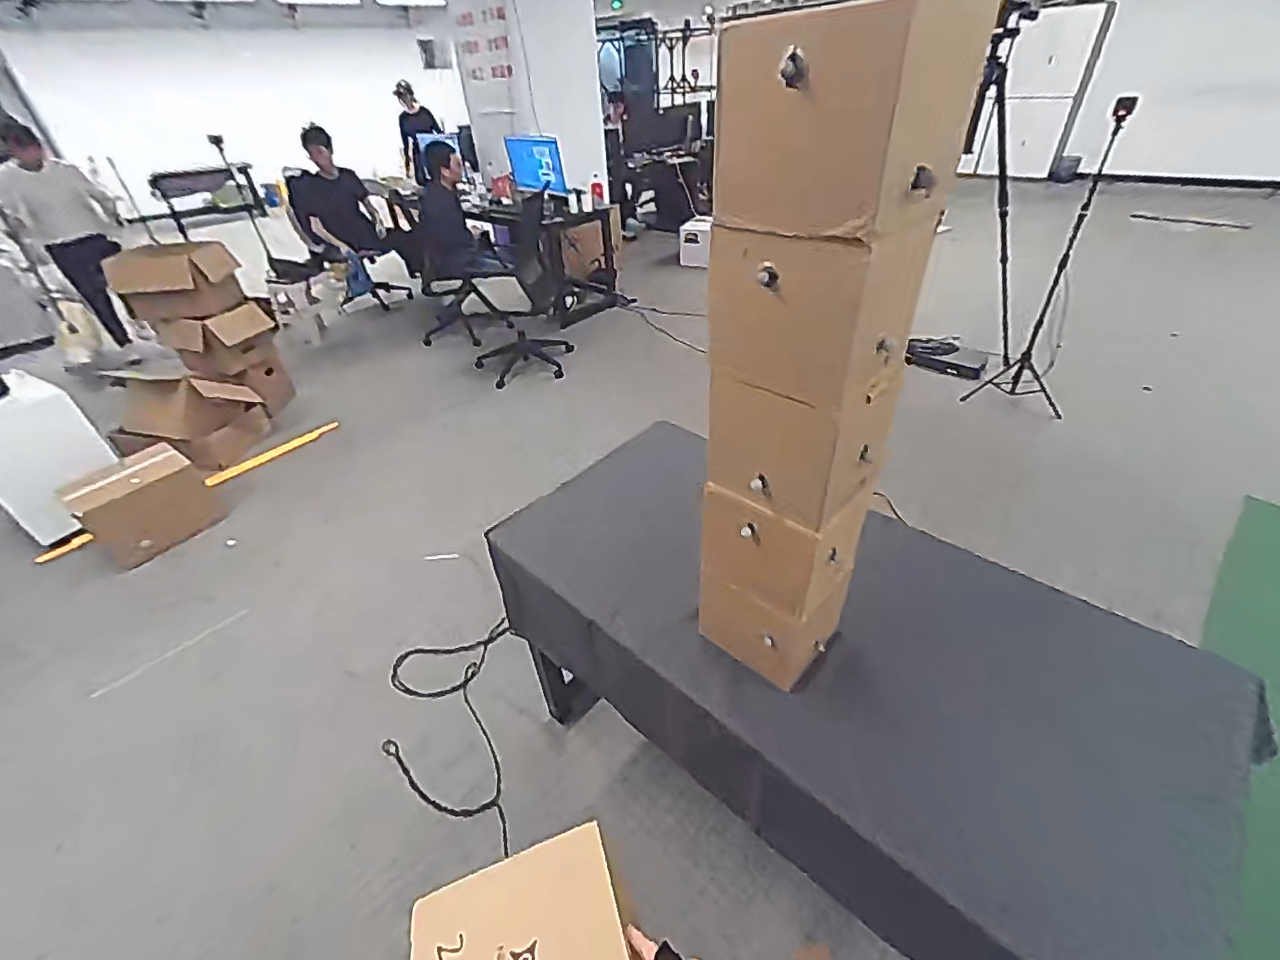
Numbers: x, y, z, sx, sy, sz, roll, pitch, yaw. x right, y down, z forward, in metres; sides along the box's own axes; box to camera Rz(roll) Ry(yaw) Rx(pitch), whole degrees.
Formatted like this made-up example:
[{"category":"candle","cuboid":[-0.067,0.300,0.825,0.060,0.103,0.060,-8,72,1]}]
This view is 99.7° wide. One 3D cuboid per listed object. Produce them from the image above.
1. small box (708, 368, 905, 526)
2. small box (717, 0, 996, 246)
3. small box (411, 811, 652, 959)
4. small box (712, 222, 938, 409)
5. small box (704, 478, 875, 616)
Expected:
[{"category":"small box","cuboid":[0.205,-0.064,0.702,0.179,0.176,0.168,29,47,36]},{"category":"small box","cuboid":[0.188,-0.330,0.510,0.168,0.176,0.179,-33,45,-32]},{"category":"small box","cuboid":[-0.079,0.439,0.464,0.179,0.176,0.168,-20,28,-9]},{"category":"small box","cuboid":[0.195,-0.200,0.610,0.179,0.176,0.168,28,47,35]},{"category":"small box","cuboid":[0.212,0.071,0.794,0.179,0.176,0.168,27,46,35]}]
